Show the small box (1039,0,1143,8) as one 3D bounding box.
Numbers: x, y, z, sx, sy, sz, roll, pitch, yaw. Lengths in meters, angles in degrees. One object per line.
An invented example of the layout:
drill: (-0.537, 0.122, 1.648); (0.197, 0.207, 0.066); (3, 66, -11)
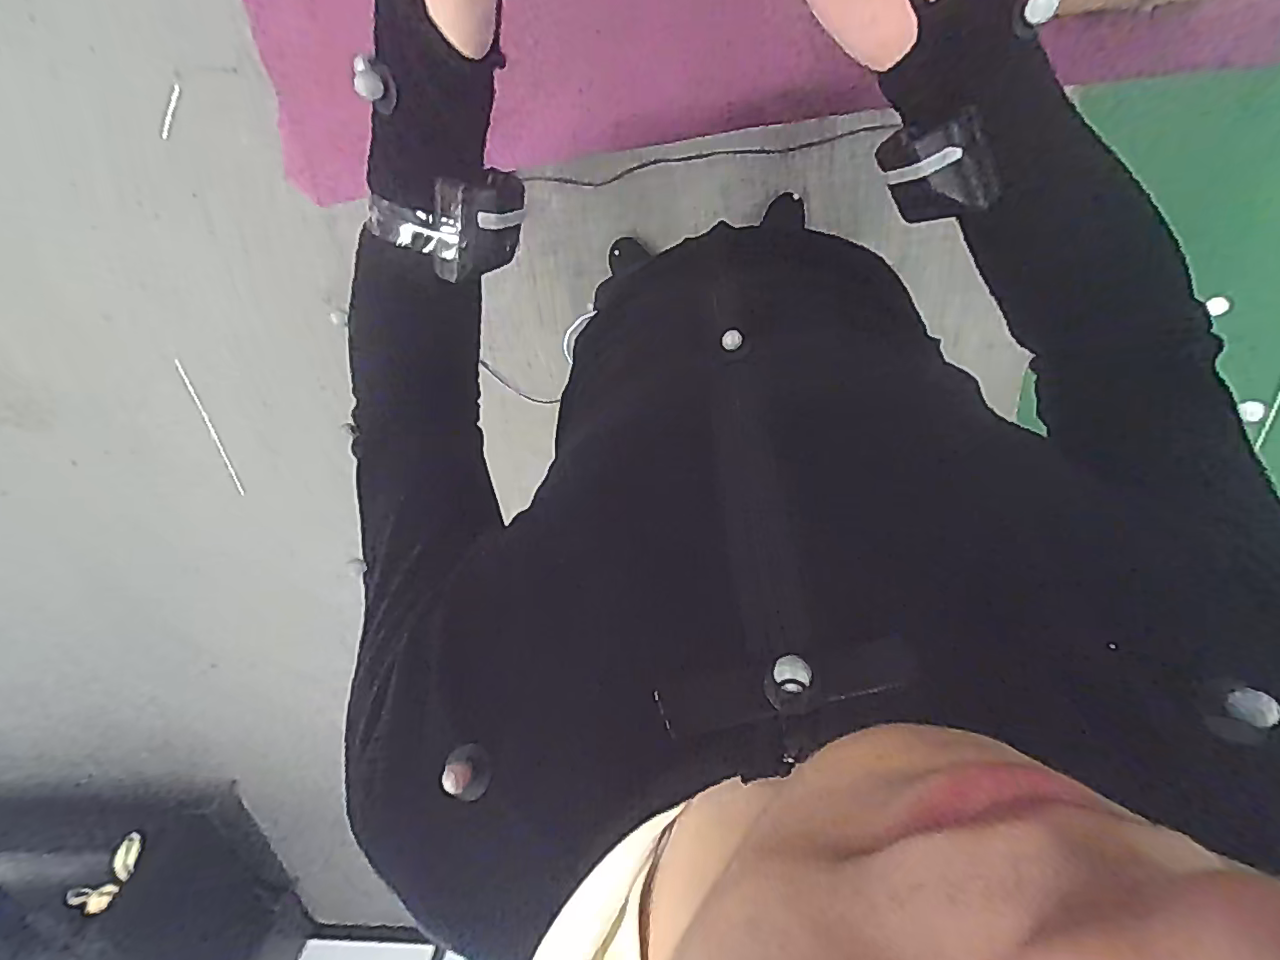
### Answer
small box: (0.527, -0.581, 0.506); (0.179, 0.176, 0.168); (-1, 114, 6)
